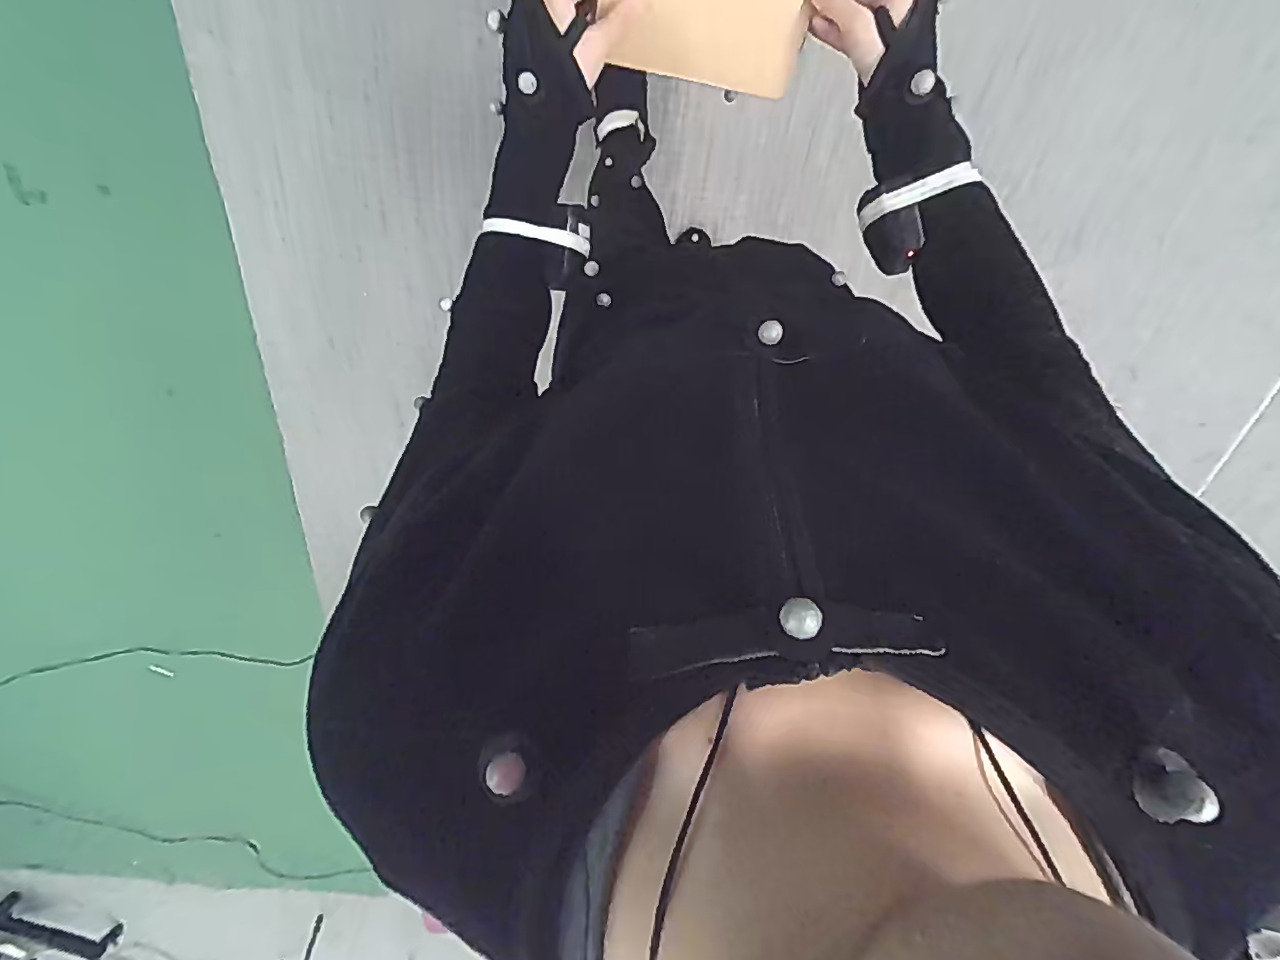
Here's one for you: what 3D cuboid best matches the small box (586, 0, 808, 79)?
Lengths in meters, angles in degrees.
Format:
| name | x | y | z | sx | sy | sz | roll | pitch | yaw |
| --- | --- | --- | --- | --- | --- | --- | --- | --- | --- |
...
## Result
| name | x | y | z | sx | sy | sz | roll | pitch | yaw |
| --- | --- | --- | --- | --- | --- | --- | --- | --- | --- |
| small box | 0.047 | -0.469 | 0.443 | 0.179 | 0.176 | 0.168 | 1 | 141 | -15 |
